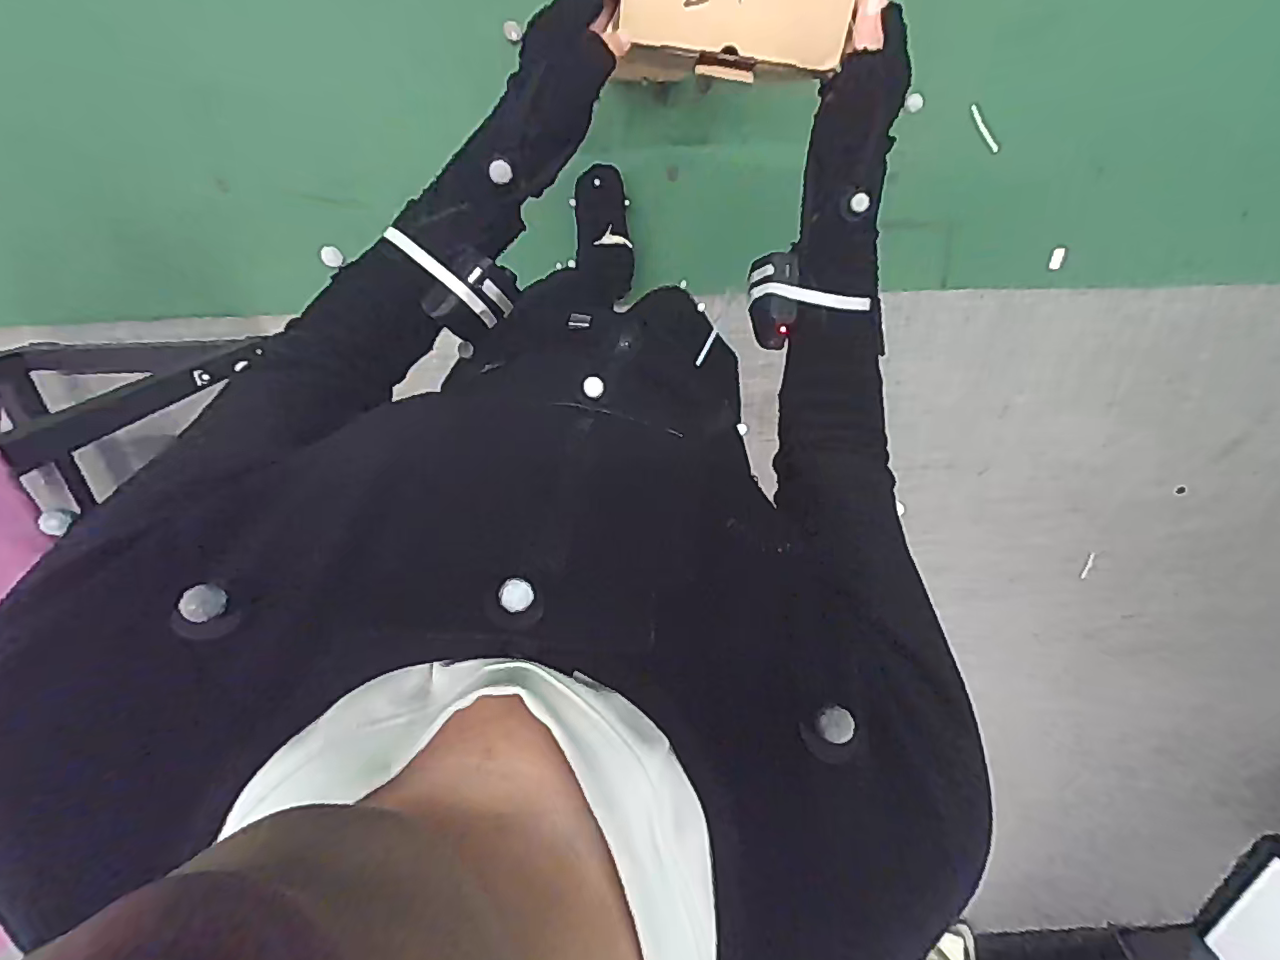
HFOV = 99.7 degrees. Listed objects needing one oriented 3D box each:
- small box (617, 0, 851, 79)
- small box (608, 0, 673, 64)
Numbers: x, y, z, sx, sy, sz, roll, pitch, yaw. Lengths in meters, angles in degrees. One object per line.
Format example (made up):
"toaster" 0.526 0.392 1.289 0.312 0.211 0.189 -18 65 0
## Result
"small box" 0.071 -0.428 0.412 0.168 0.176 0.179 5 124 -5
"small box" 0.036 -0.792 0.875 0.179 0.176 0.168 -2 118 -2
